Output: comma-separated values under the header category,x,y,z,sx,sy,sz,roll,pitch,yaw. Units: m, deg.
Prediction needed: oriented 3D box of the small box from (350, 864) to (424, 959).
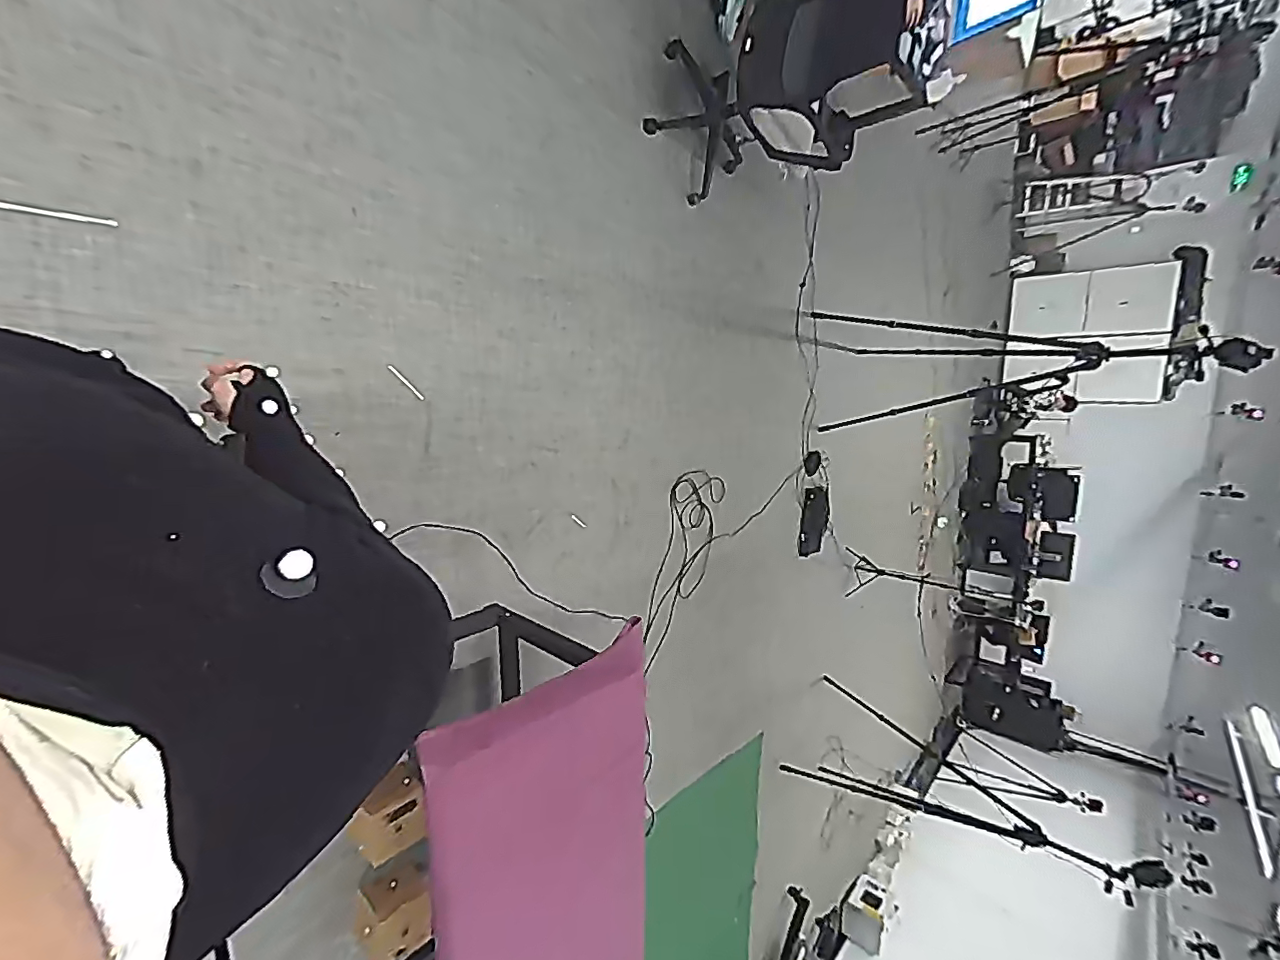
category,x,y,z,sx,sy,sz,roll,pitch,yaw
small box,-0.808,1.376,1.724,0.168,0.176,0.179,-4,99,-47
